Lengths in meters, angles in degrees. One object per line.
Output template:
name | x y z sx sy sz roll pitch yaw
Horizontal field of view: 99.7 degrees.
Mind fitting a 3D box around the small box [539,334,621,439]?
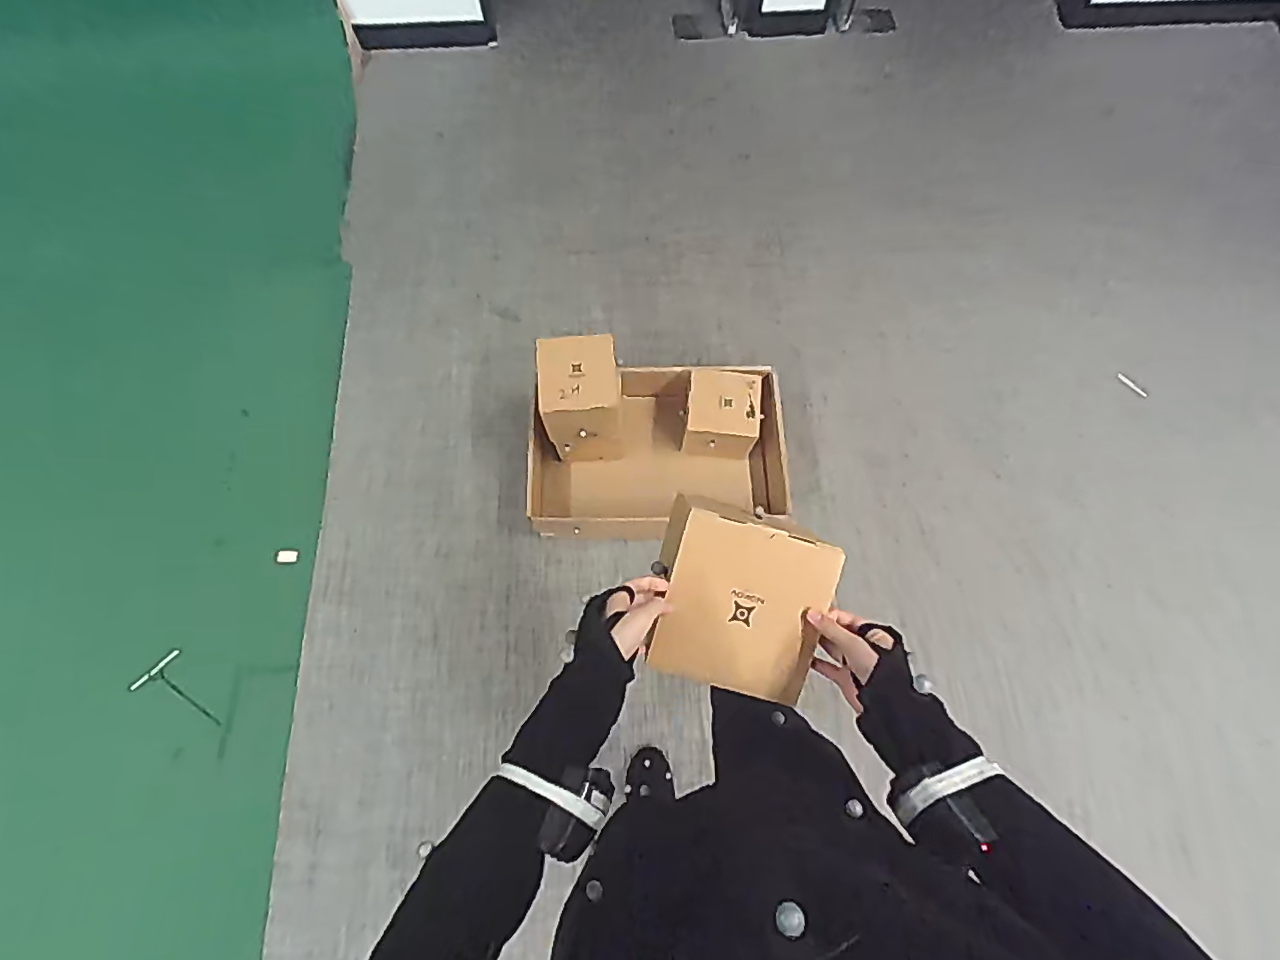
small box | -0.131 -0.205 1.212 0.168 0.176 0.179 -4 74 0

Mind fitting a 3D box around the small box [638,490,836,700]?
small box | 0.102 0.120 0.637 0.168 0.176 0.179 16 94 0
